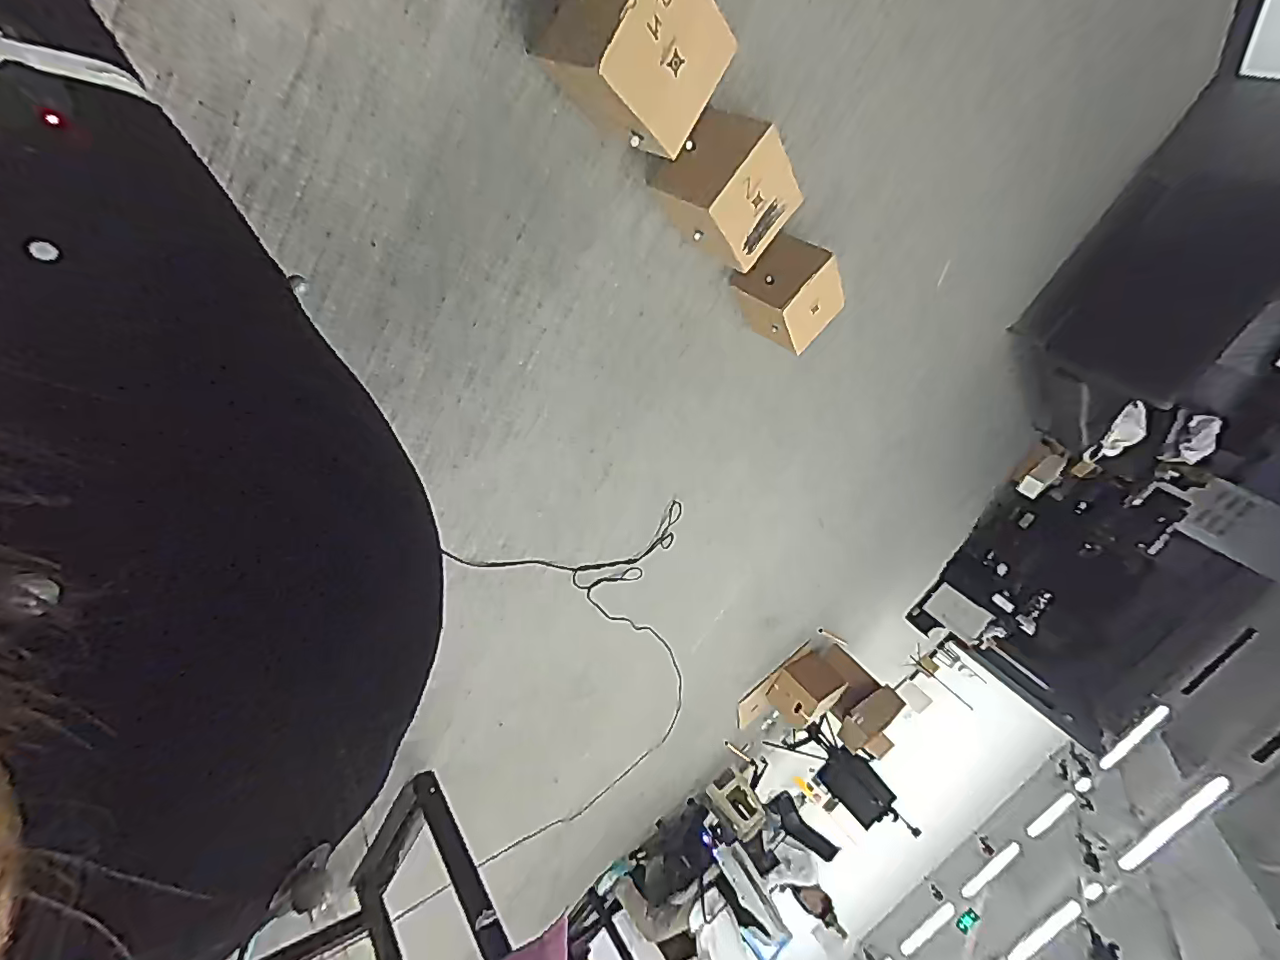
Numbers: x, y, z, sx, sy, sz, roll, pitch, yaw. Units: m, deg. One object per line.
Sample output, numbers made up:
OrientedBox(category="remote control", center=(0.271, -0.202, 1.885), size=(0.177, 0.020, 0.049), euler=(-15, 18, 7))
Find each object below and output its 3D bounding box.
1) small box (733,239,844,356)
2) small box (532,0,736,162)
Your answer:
OrientedBox(category="small box", center=(0.340, -0.427, 1.247), size=(0.168, 0.176, 0.179), euler=(-47, 146, 1))
OrientedBox(category="small box", center=(-0.010, -0.579, 0.733), size=(0.179, 0.176, 0.168), euler=(16, 112, -51))
